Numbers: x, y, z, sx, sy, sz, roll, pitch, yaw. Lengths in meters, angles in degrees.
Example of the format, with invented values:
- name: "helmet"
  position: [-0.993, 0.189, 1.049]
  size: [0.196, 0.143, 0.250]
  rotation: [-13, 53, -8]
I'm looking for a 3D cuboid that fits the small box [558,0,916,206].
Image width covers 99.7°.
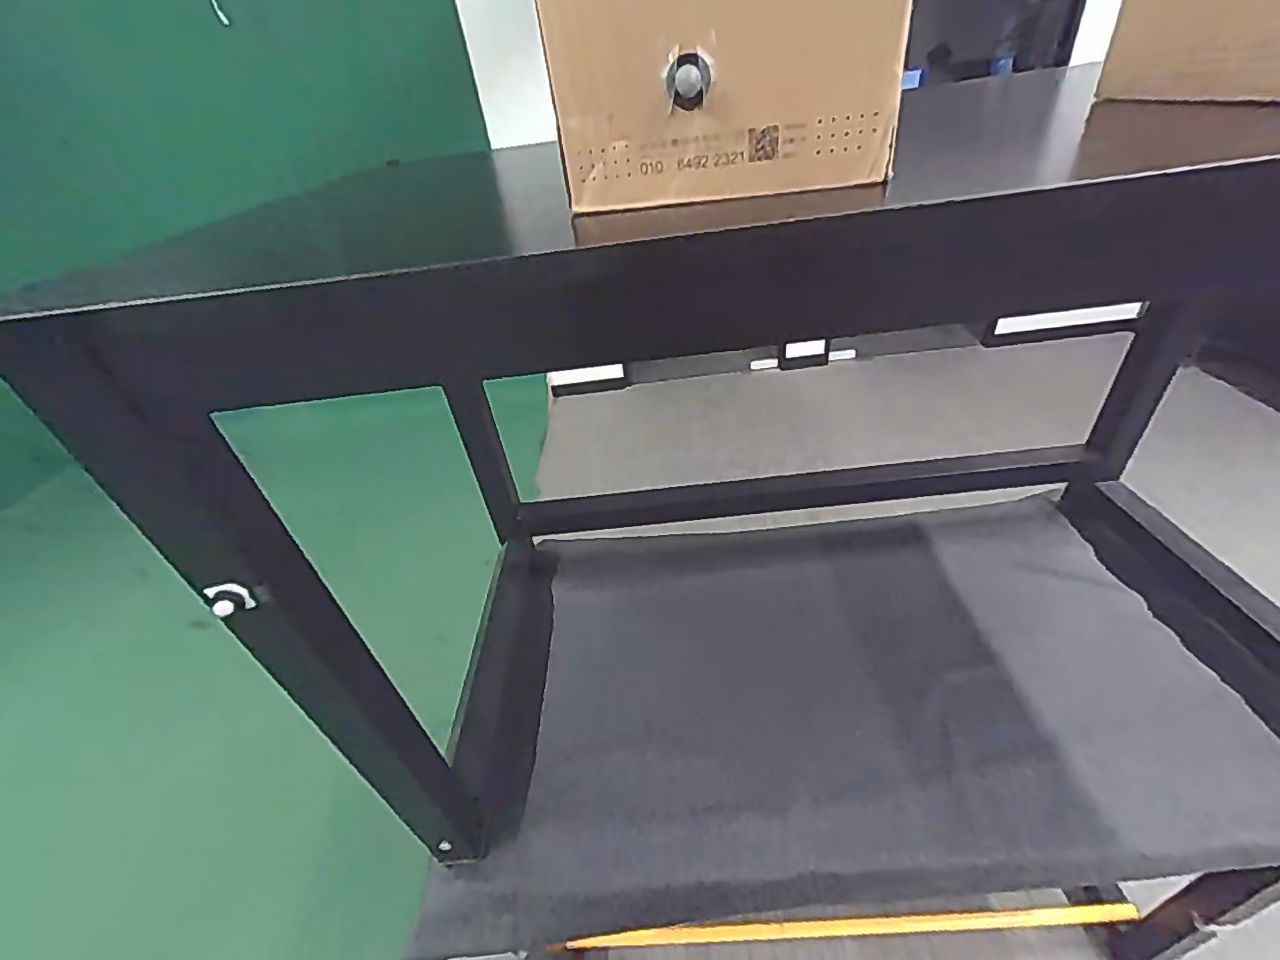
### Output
- name: "small box"
  position: [0.050, -0.264, 0.307]
  size: [0.168, 0.176, 0.179]
  rotation: [-1, 37, 10]
